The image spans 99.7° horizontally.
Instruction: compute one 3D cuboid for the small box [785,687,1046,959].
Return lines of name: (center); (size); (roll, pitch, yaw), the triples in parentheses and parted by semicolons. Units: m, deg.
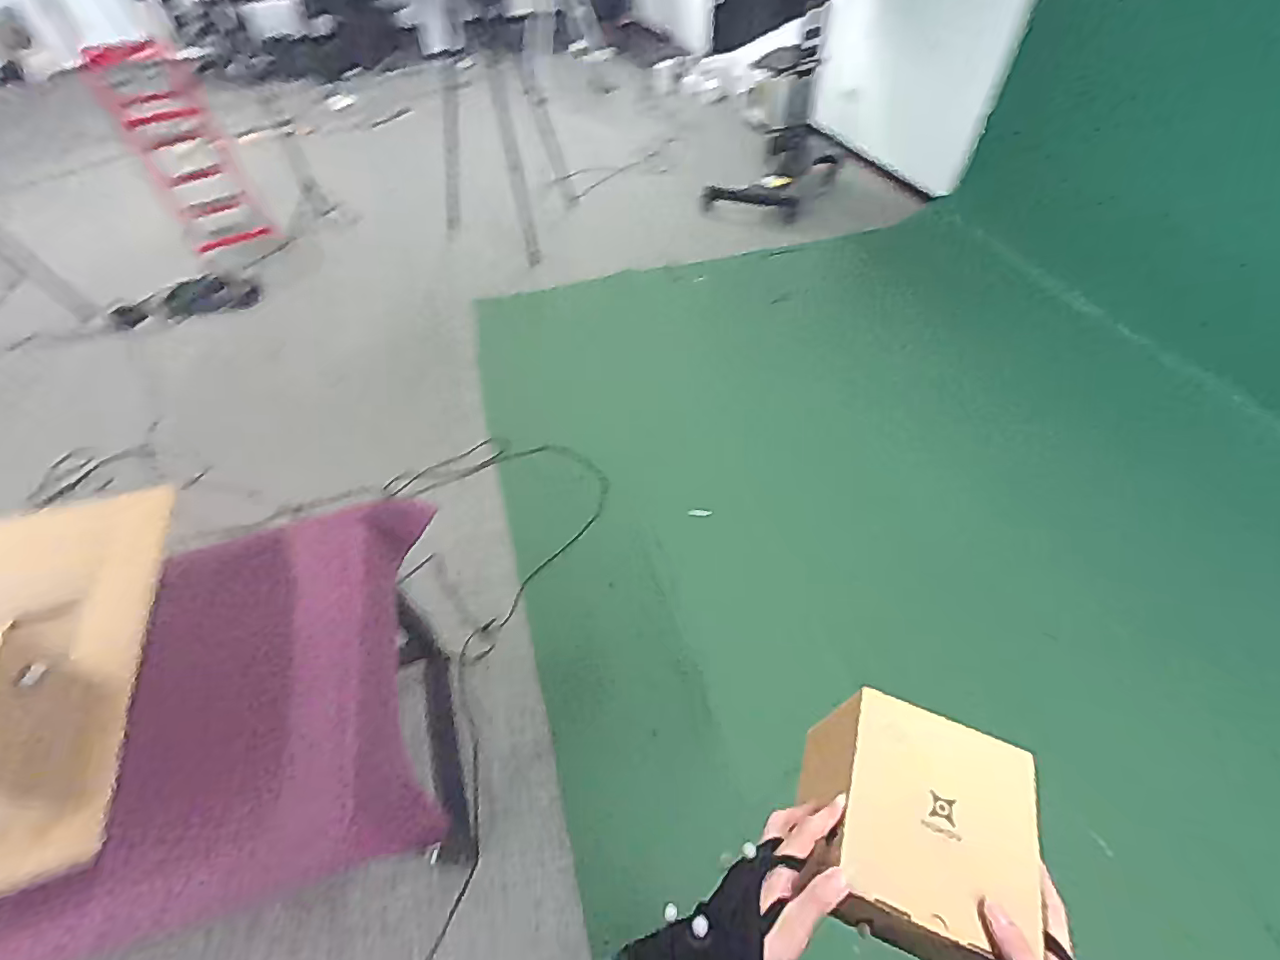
small box: (0.259, 0.343, 0.538); (0.168, 0.176, 0.179); (21, 54, 9)
